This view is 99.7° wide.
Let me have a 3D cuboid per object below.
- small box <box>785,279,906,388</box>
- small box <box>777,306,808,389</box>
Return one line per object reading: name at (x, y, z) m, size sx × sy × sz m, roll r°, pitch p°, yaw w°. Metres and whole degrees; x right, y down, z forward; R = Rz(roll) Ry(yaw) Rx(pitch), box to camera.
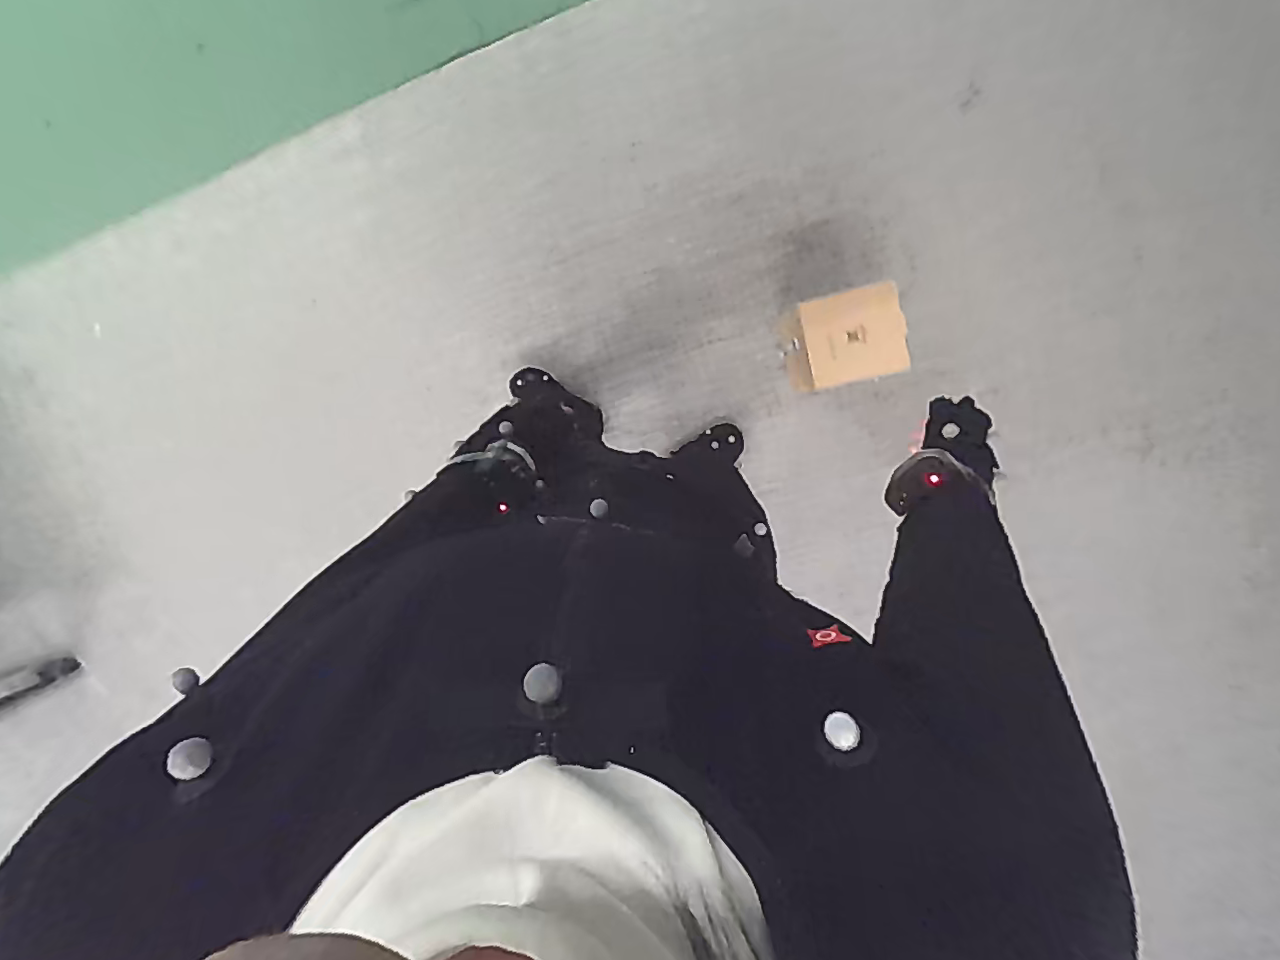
small box at (0.400, -0.284, 1.075) m, size 0.179 × 0.176 × 0.168 m, roll -12°, pitch 98°, yaw 10°
small box at (0.415, -0.315, 1.234) m, size 0.168 × 0.176 × 0.179 m, roll -11°, pitch 100°, yaw 9°
